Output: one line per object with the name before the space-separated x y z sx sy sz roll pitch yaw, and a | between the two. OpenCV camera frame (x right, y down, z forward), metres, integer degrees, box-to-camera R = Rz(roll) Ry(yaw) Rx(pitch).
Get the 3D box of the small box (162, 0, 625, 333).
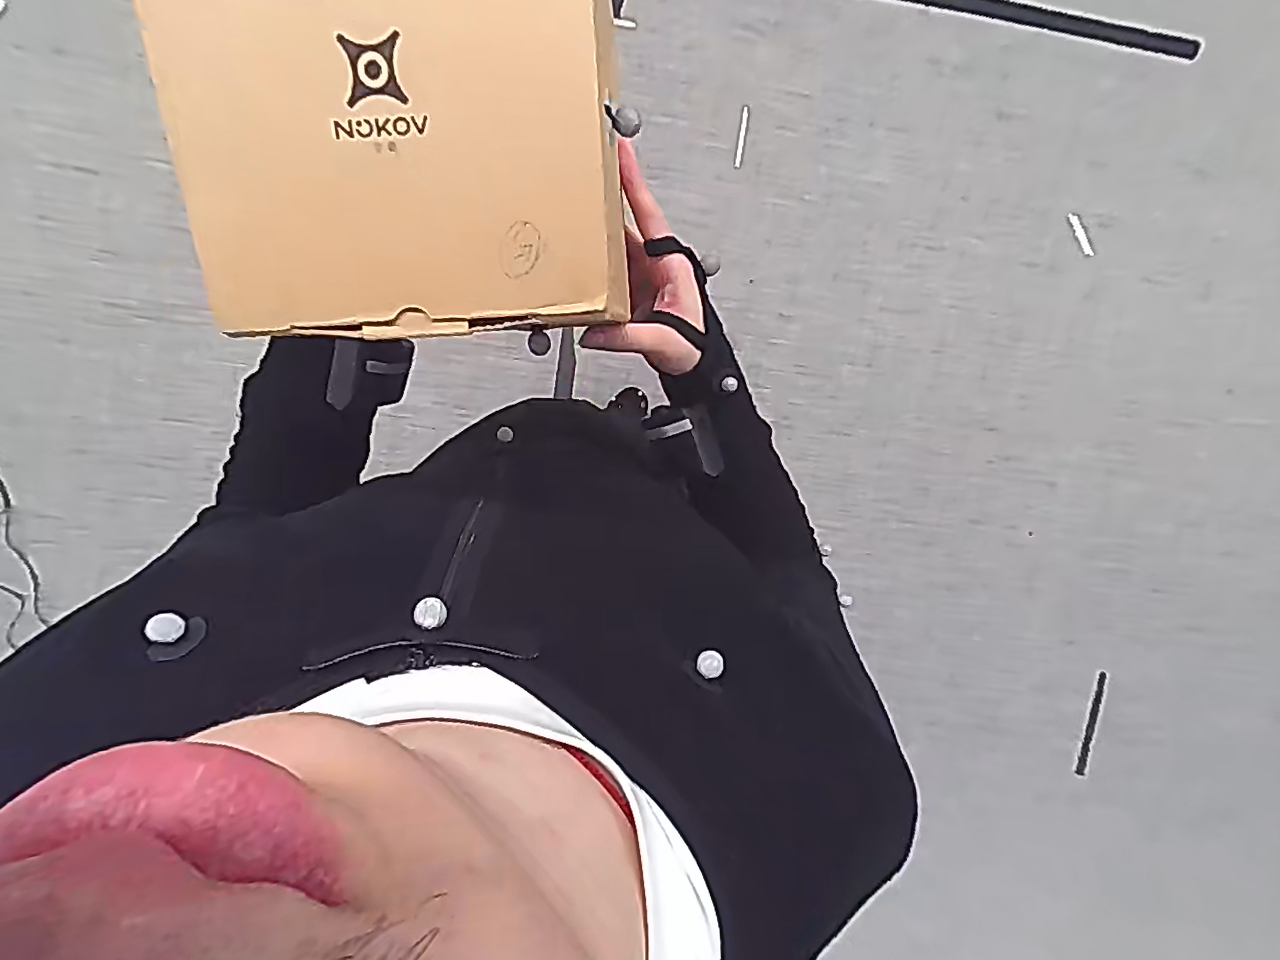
small box | -0.097 -0.173 0.290 0.168 0.176 0.179 -3 105 1
